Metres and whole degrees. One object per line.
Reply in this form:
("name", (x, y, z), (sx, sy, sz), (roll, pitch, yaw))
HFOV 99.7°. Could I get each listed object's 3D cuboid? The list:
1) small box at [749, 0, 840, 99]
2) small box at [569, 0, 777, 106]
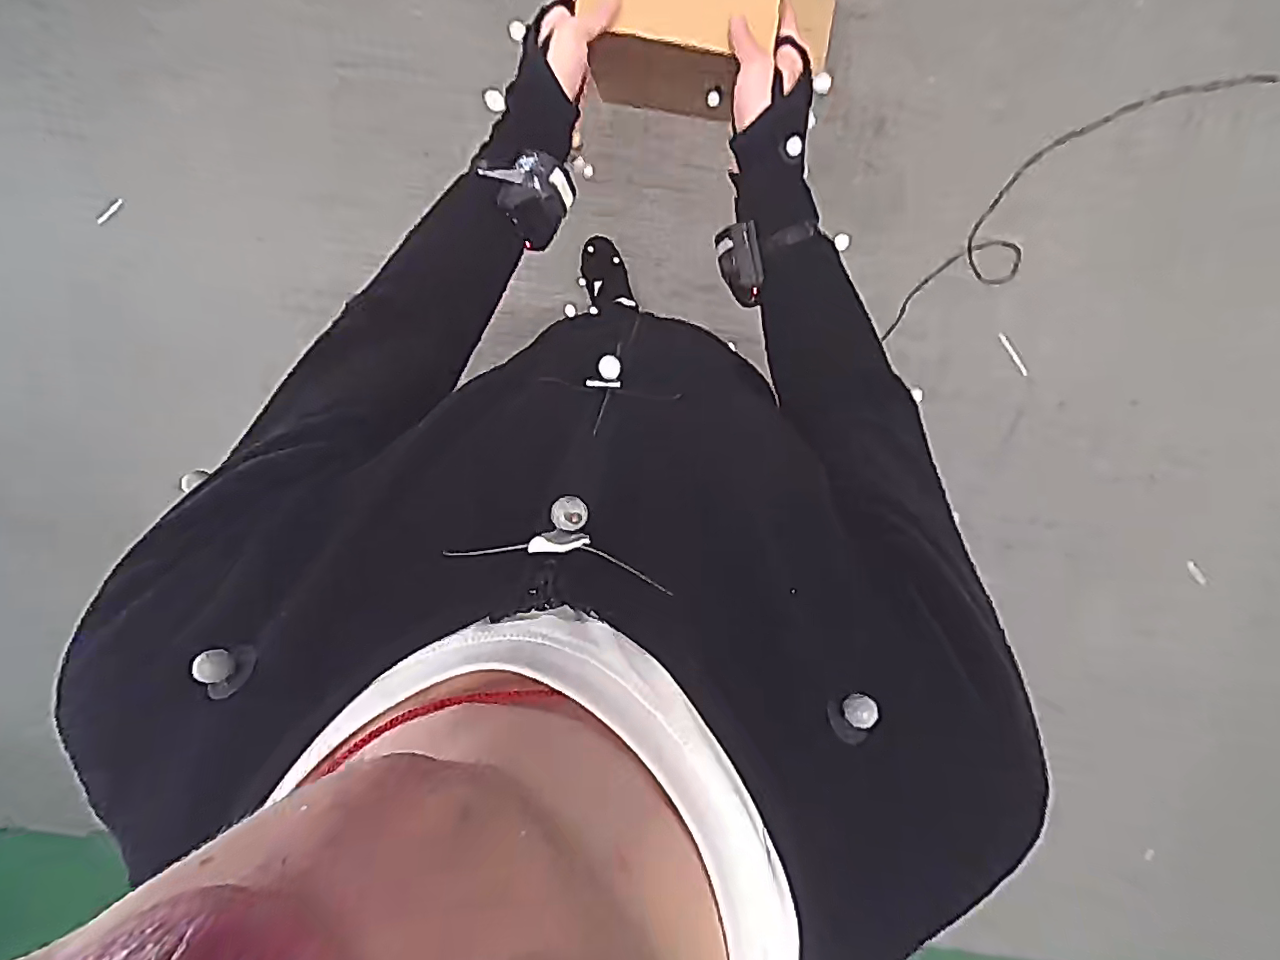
("small box", (0.311, -0.952, 1.167), (0.179, 0.176, 0.168), (12, 111, 1))
("small box", (0.046, -0.487, 0.514), (0.179, 0.176, 0.168), (12, 106, 3))
